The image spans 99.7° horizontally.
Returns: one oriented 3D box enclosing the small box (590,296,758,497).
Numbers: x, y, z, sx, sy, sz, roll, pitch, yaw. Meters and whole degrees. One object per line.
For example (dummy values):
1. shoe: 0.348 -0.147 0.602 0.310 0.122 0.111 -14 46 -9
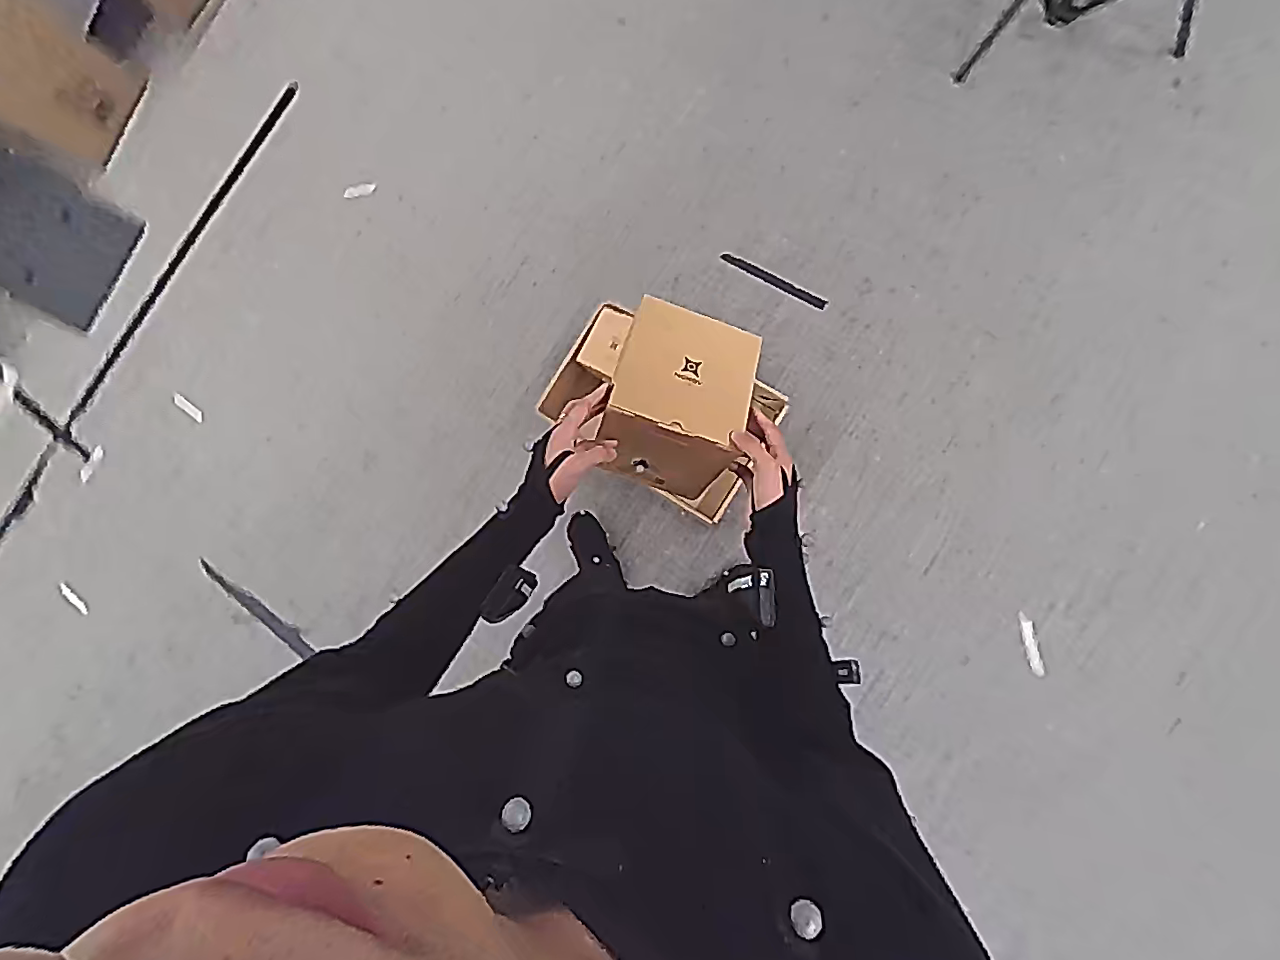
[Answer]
1. small box: 0.039 -0.102 0.721 0.168 0.176 0.179 17 65 -7
